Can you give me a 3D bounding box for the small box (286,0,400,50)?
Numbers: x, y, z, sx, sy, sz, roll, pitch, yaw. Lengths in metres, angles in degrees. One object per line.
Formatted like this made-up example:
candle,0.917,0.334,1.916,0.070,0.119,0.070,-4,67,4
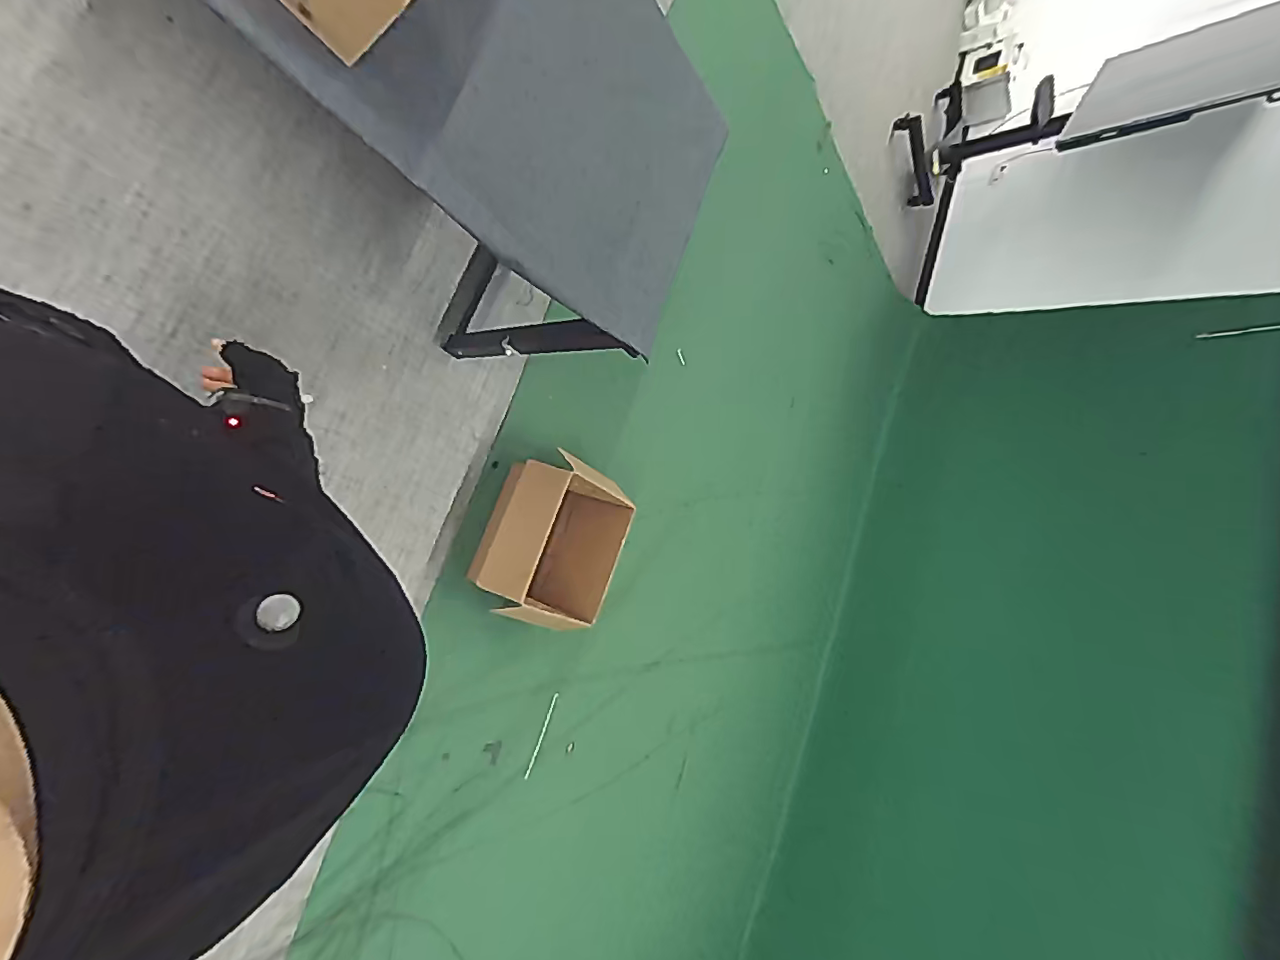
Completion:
small box,-0.321,-0.620,0.572,0.168,0.176,0.179,33,71,-46
